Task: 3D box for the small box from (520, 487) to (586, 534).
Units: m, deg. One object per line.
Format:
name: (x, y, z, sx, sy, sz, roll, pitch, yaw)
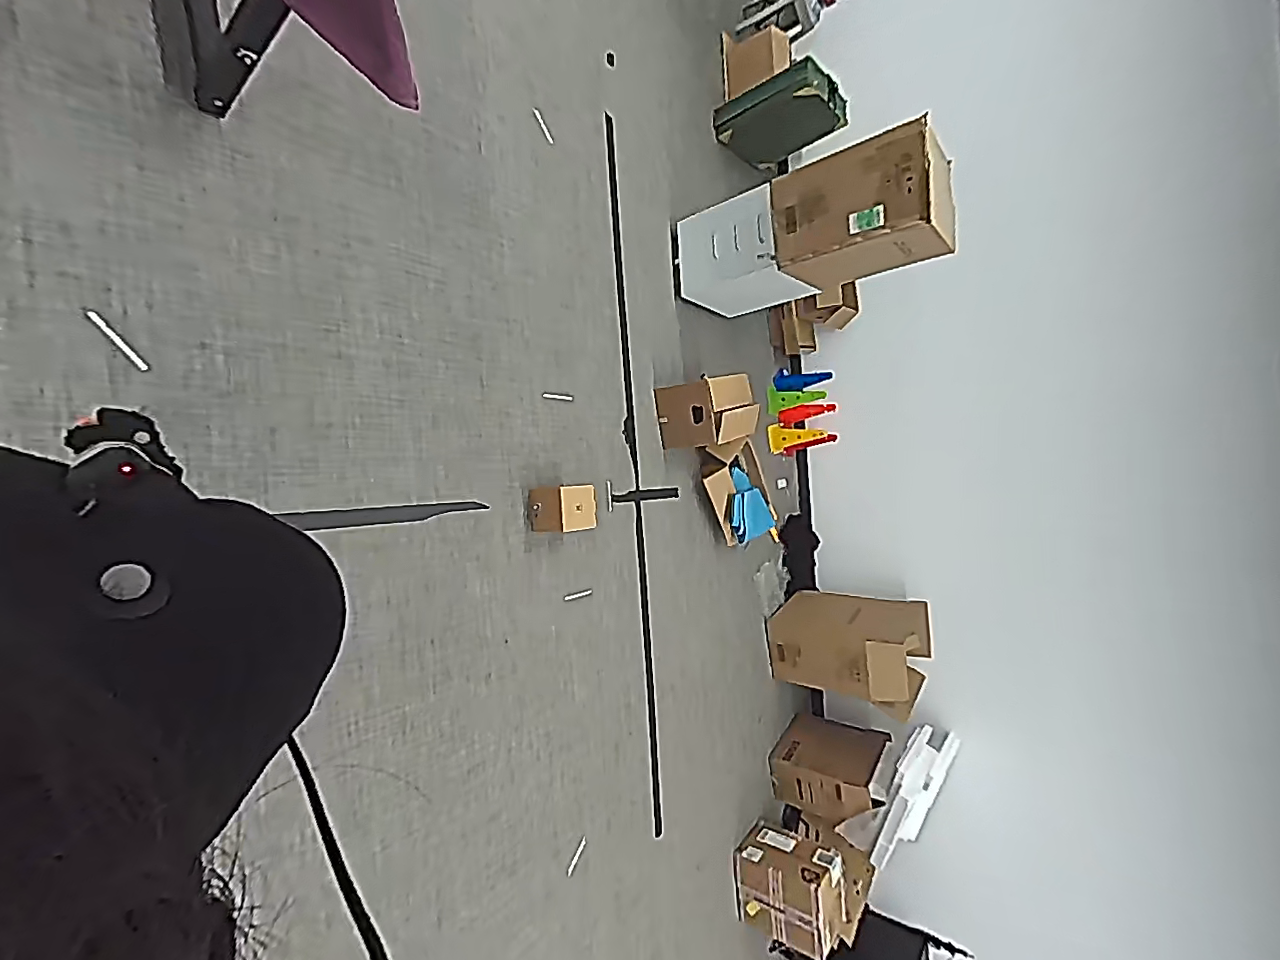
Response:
small box: (-0.324, 0.110, 2.021, 0.179, 0.176, 0.168, -3, 89, -52)
